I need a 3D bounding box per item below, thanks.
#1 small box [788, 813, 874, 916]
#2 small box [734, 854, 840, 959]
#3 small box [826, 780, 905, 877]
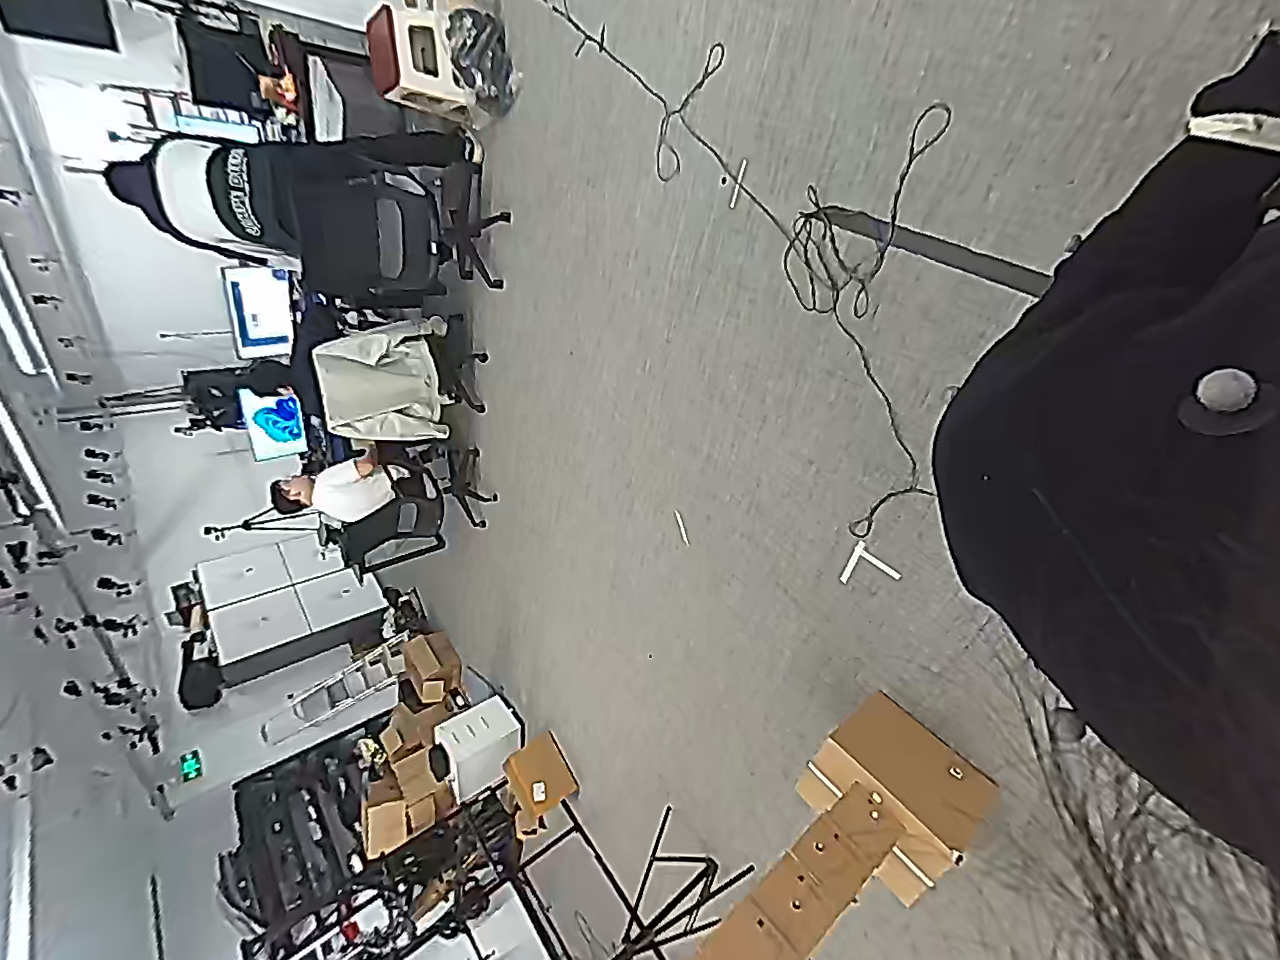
[{"bbox_3d":[0.483,1.026,1.418,0.168,0.176,0.179,38,131,38],"label":"small box"},{"bbox_3d":[0.360,1.069,1.317,0.168,0.176,0.179,34,128,41],"label":"small box"},{"bbox_3d":[0.607,0.996,1.517,0.168,0.176,0.179,38,130,36],"label":"small box"}]
